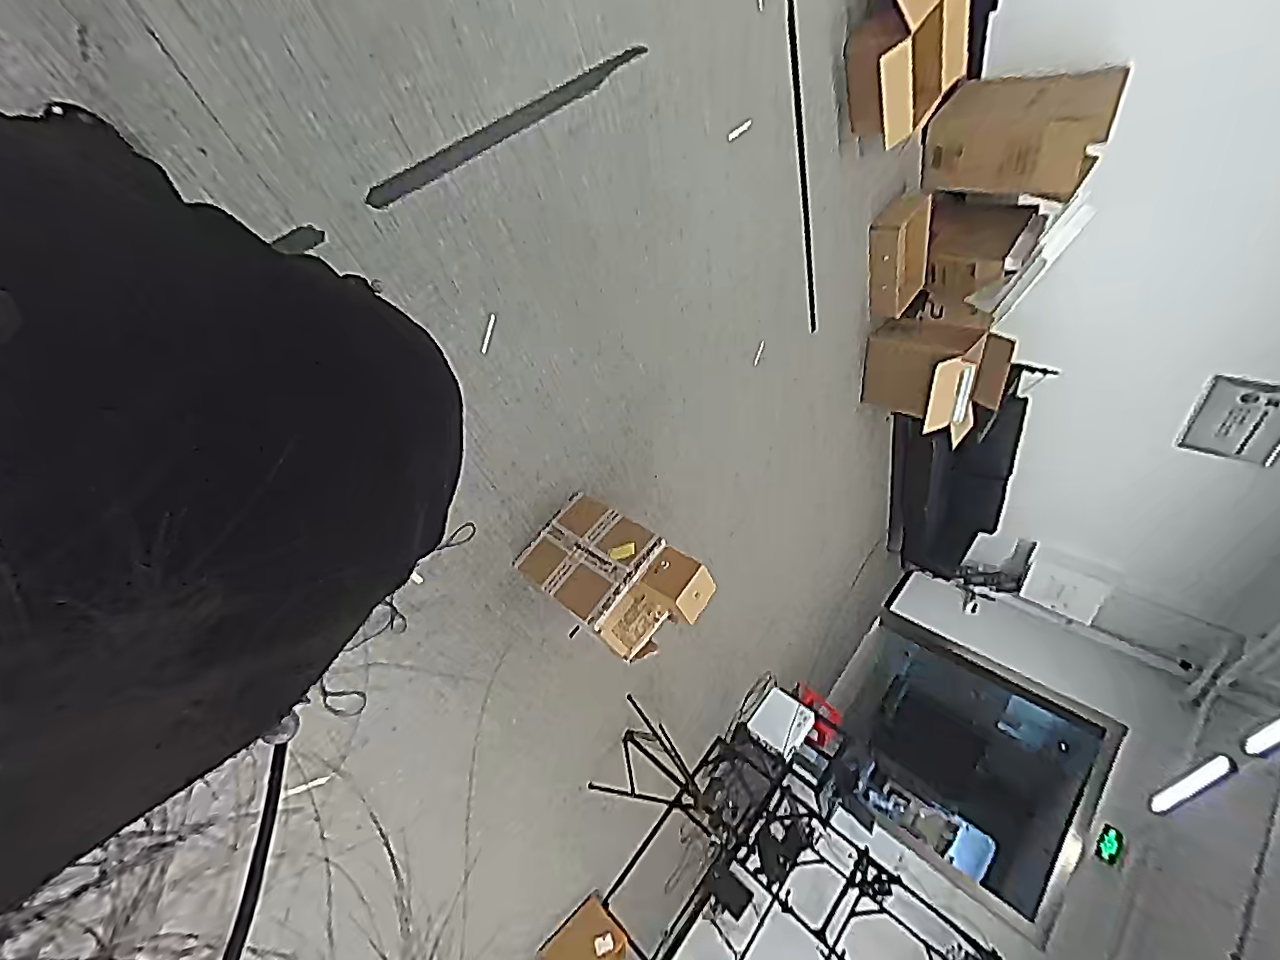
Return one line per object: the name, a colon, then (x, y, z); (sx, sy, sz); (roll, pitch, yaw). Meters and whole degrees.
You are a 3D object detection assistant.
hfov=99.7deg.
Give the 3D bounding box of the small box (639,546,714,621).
small box: (0.127, 0.359, 1.904); (0.168, 0.176, 0.179); (-51, 136, -19)
